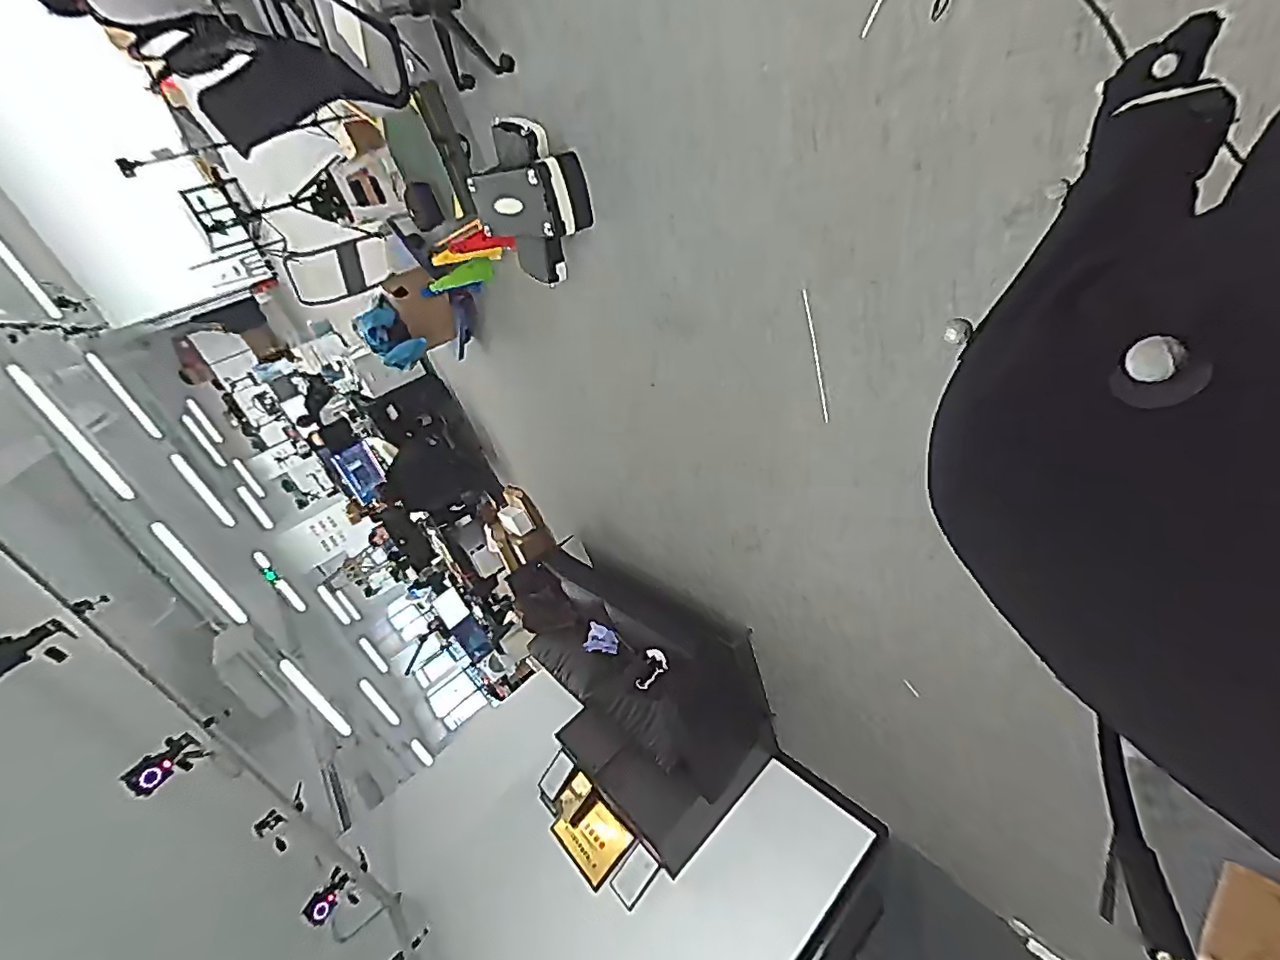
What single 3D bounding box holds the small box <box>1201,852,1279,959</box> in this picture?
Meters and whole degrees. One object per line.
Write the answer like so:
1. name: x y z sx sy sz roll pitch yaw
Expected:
1. small box: 0.940 0.694 0.774 0.168 0.176 0.179 17 135 51
